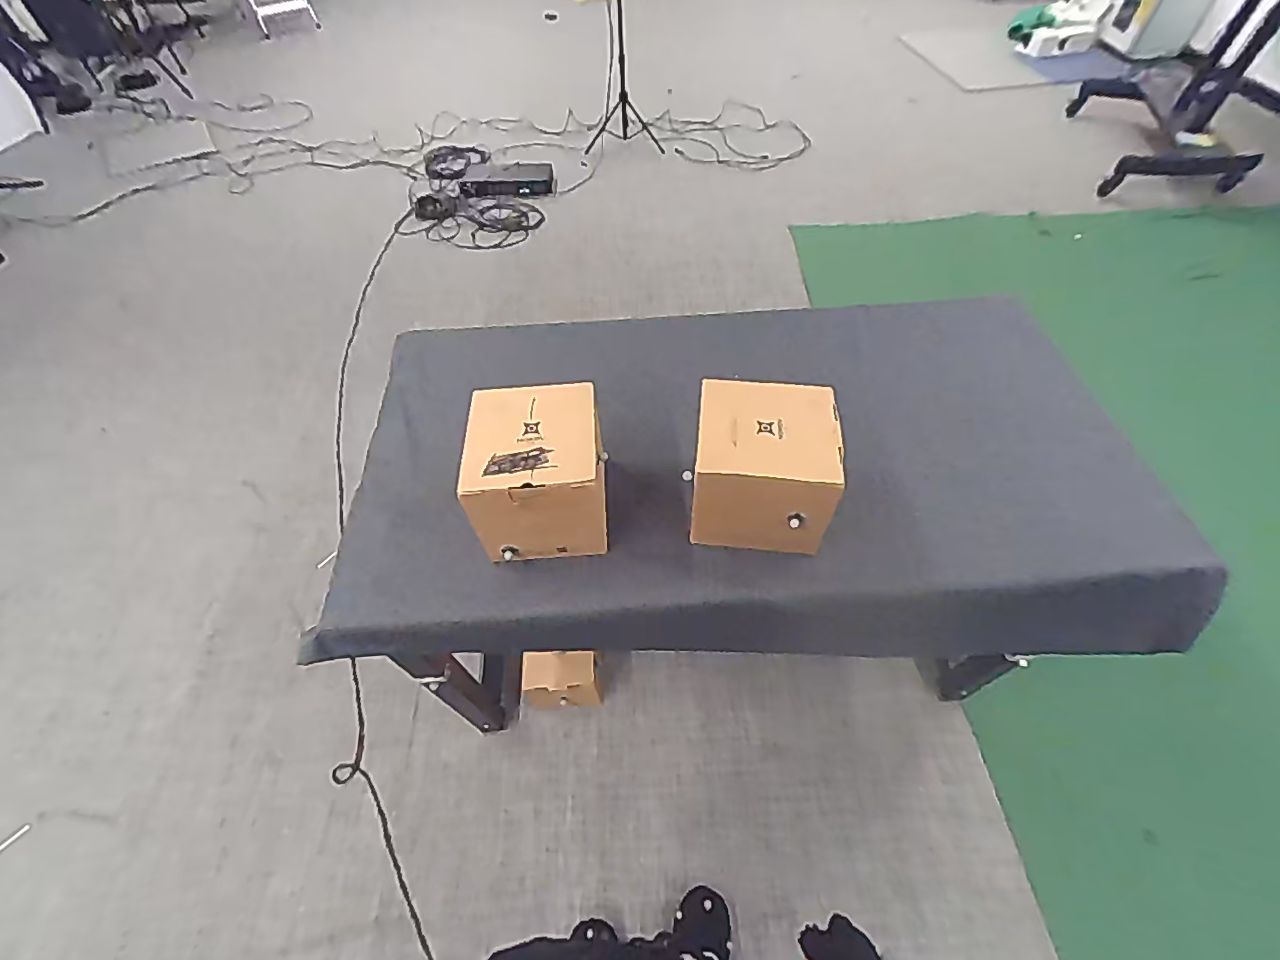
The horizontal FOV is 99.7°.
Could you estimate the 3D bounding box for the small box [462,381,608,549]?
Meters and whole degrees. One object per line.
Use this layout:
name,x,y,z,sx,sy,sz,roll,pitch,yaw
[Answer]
small box,-0.132,-0.014,0.754,0.168,0.176,0.179,-3,53,-1

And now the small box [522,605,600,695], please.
small box,-0.189,0.426,1.339,0.168,0.176,0.179,-3,55,-1

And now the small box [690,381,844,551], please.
small box,0.167,-0.015,0.751,0.179,0.176,0.168,5,53,6
